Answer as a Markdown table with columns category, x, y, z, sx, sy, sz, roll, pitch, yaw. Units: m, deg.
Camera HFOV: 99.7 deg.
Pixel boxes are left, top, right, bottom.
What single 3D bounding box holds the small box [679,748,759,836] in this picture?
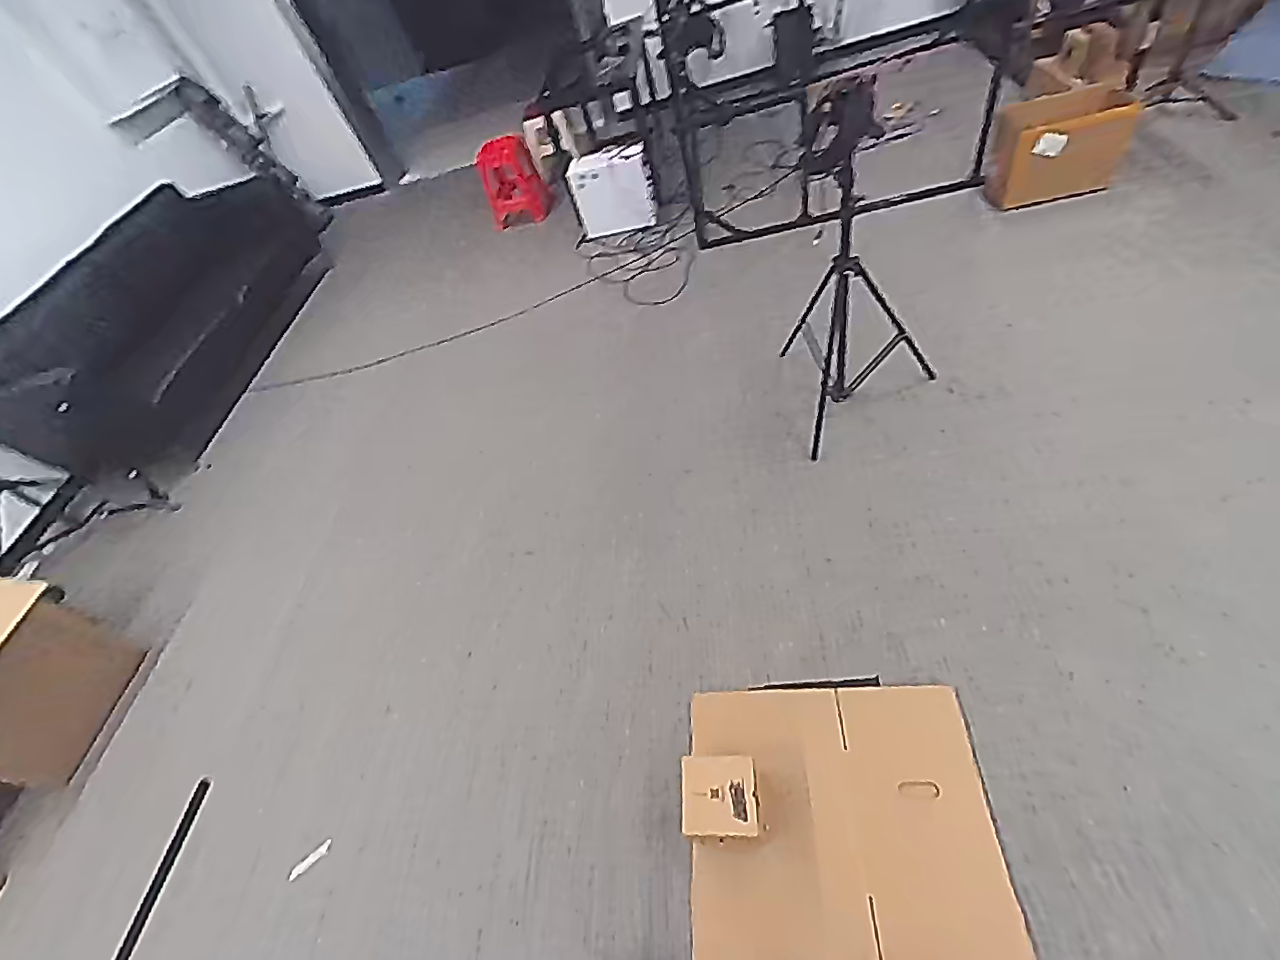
| category | x | y | z | sx | sy | sz | roll | pitch | yaw |
| --- | --- | --- | --- | --- | --- | --- | --- | --- | --- |
| small box | 0.197 | 0.766 | 1.327 | 0.179 | 0.176 | 0.168 | -7 | 51 | 14 |
